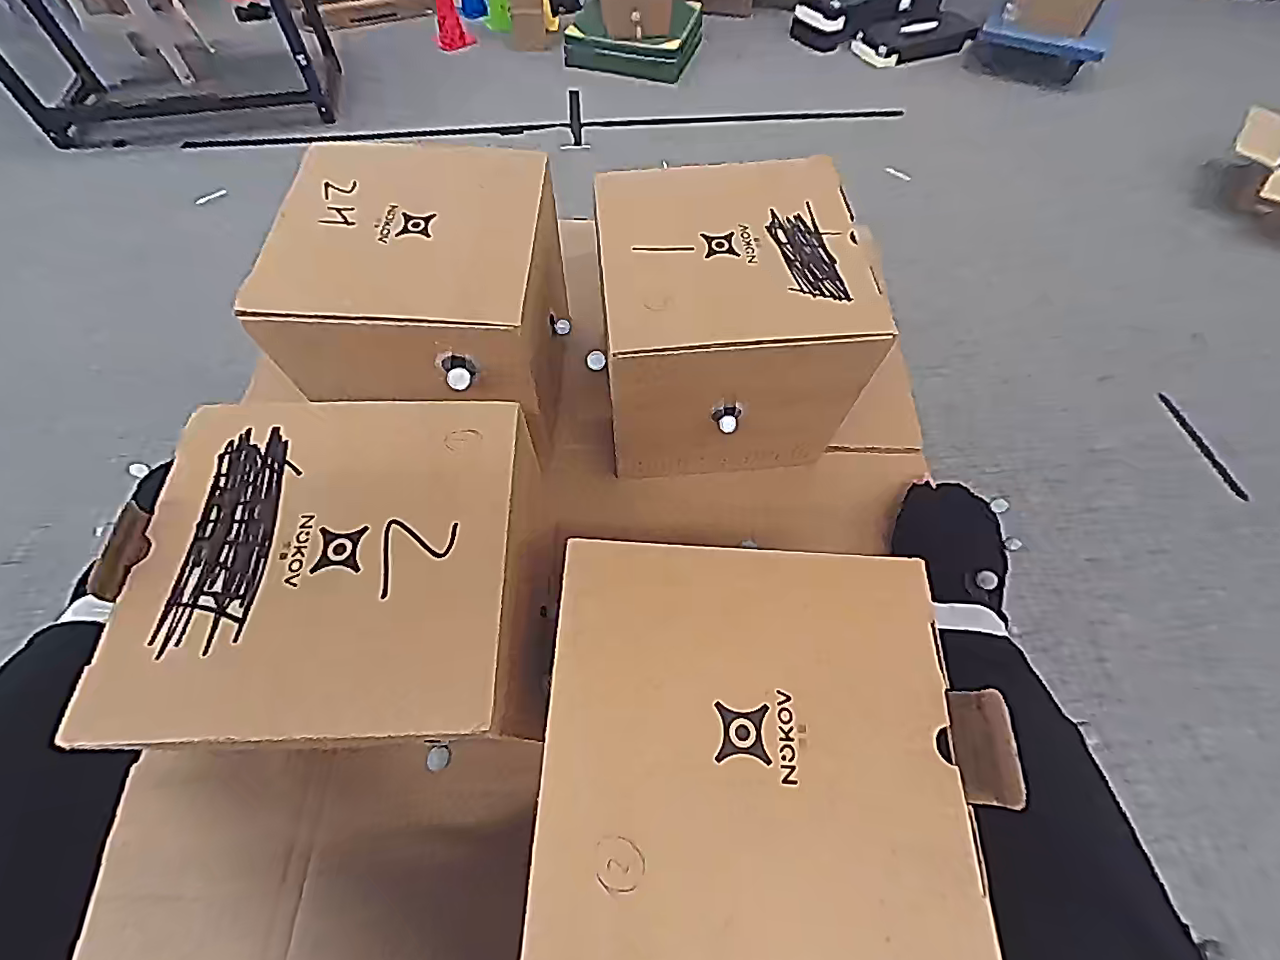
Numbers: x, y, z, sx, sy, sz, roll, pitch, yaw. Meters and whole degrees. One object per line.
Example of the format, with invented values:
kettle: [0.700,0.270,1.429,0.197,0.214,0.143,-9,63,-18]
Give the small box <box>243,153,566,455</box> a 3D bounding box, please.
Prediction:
small box: [-0.159,-0.130,0.441,0.179,0.176,0.168,2,64,0]
